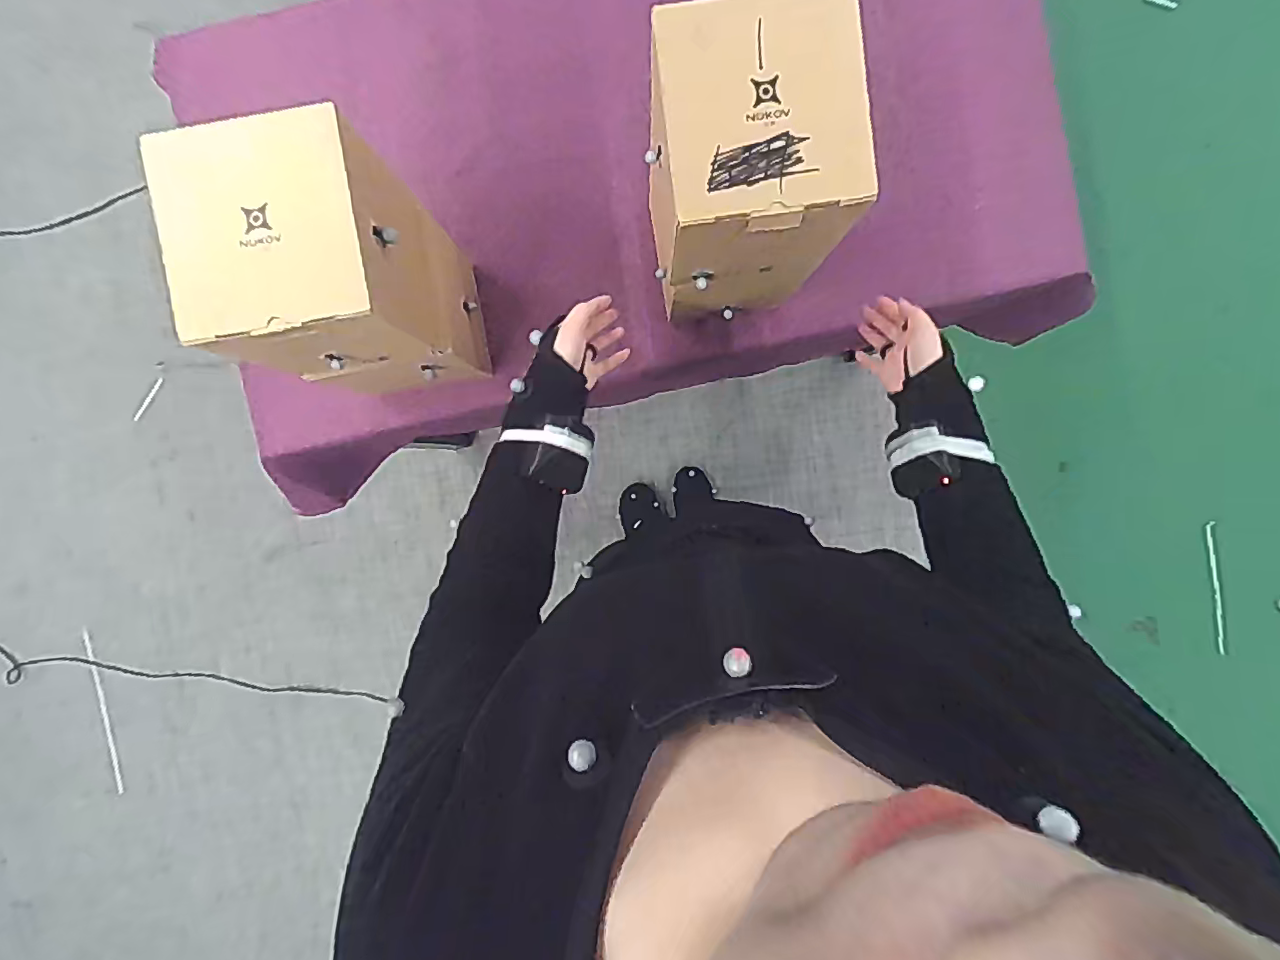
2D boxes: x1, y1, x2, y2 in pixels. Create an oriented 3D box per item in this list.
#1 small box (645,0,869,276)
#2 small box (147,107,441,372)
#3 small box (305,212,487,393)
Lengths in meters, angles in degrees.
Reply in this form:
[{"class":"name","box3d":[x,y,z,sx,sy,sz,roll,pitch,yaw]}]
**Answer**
[{"class":"small box","box3d":[0.098,-0.308,0.515,0.168,0.176,0.179,-7,91,2]},{"class":"small box","box3d":[-0.317,-0.216,0.532,0.168,0.176,0.179,-9,93,2]},{"class":"small box","box3d":[-0.309,-0.214,0.695,0.179,0.176,0.168,-10,91,2]}]
